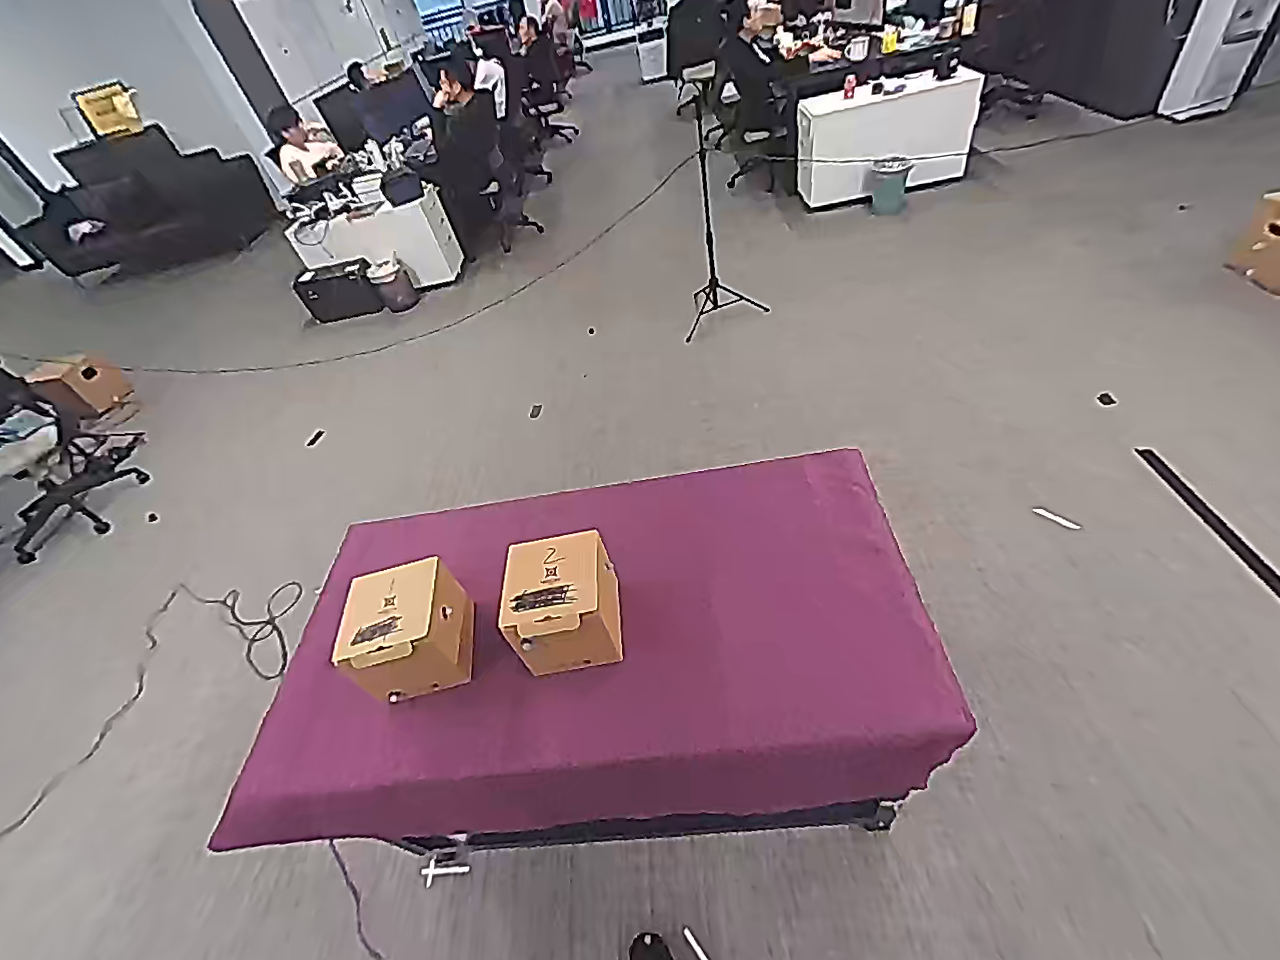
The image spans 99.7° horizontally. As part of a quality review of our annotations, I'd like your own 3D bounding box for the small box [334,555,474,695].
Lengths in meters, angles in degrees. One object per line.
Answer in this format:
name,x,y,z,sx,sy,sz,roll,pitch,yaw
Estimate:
small box,-0.415,0.270,0.986,0.168,0.176,0.179,-15,44,0
